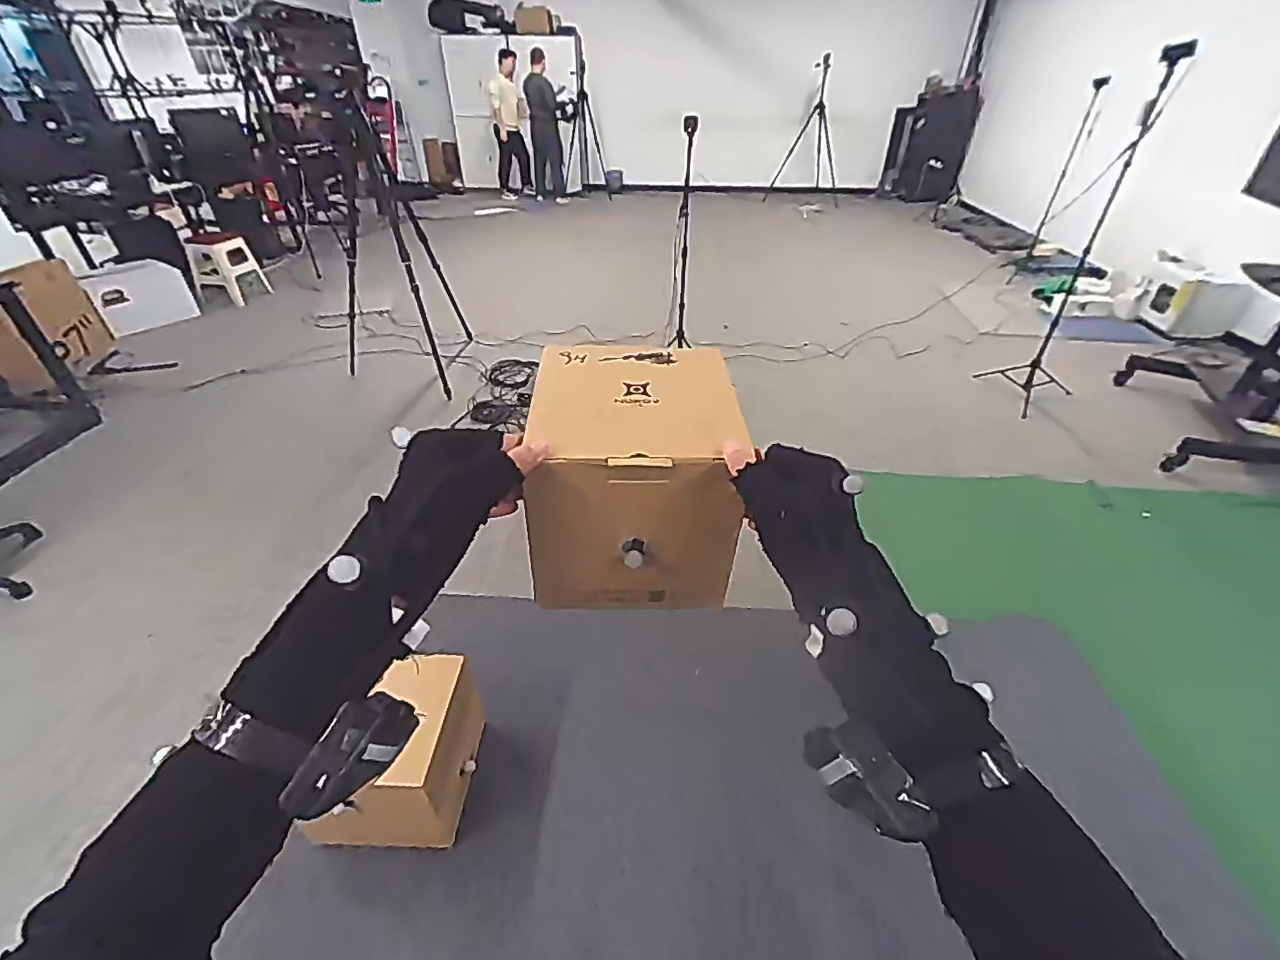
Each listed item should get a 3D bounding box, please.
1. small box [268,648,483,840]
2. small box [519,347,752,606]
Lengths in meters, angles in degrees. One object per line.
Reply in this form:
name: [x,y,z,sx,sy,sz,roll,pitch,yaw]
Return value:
small box: [-0.317,0.337,0.693,0.179,0.176,0.168,2,37,0]
small box: [-0.006,-0.003,0.486,0.168,0.176,0.179,1,40,-3]
